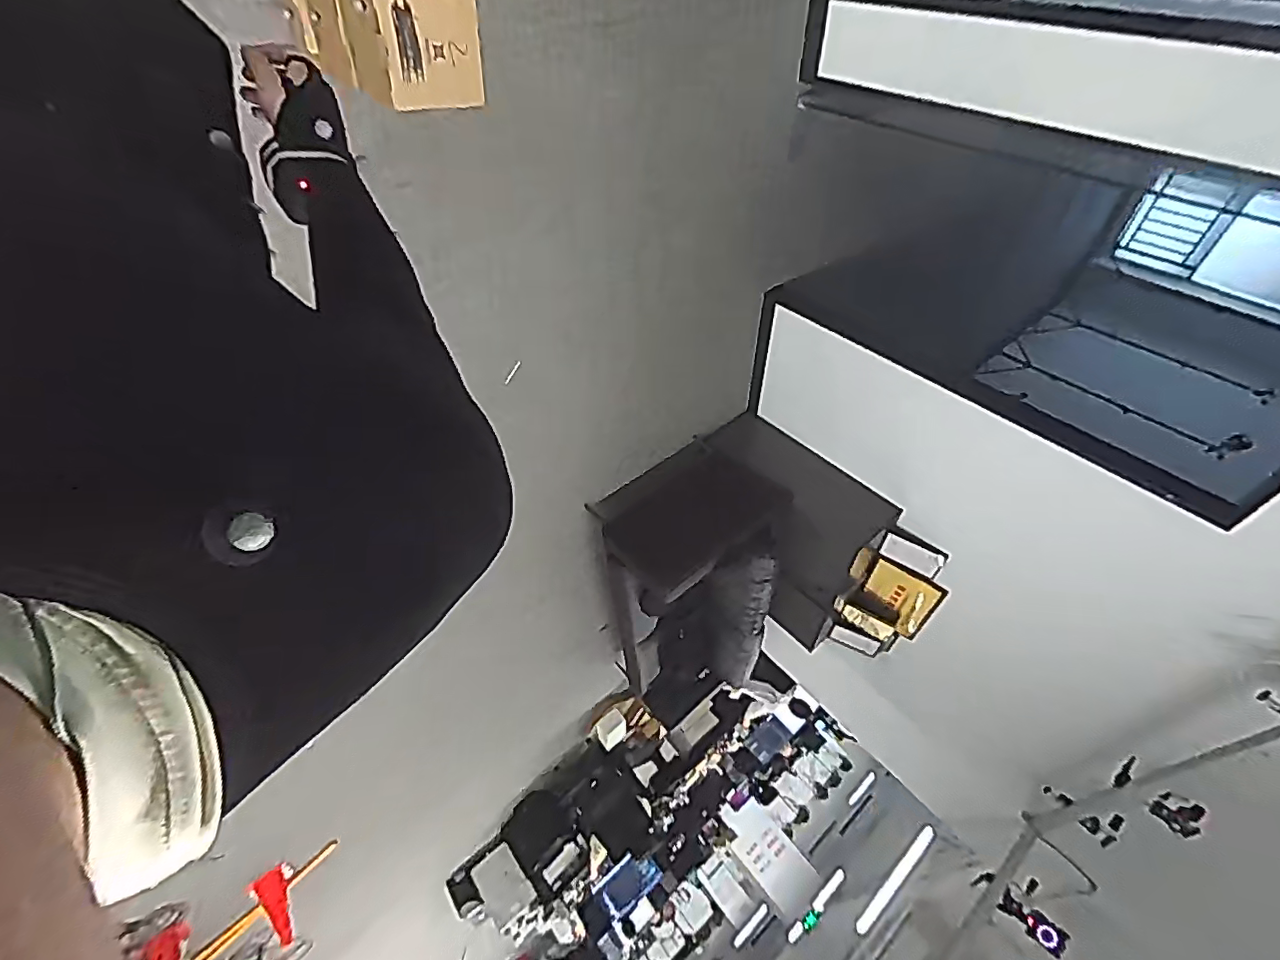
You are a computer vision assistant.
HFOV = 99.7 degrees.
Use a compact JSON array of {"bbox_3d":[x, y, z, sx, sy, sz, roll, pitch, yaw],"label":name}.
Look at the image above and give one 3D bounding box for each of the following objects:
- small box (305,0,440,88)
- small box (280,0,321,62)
[{"bbox_3d":[-0.514,-0.870,1.034,0.179,0.176,0.168,-28,144,-29],"label":"small box"},{"bbox_3d":[-0.619,-0.965,1.110,0.179,0.176,0.168,-24,139,-33],"label":"small box"}]
